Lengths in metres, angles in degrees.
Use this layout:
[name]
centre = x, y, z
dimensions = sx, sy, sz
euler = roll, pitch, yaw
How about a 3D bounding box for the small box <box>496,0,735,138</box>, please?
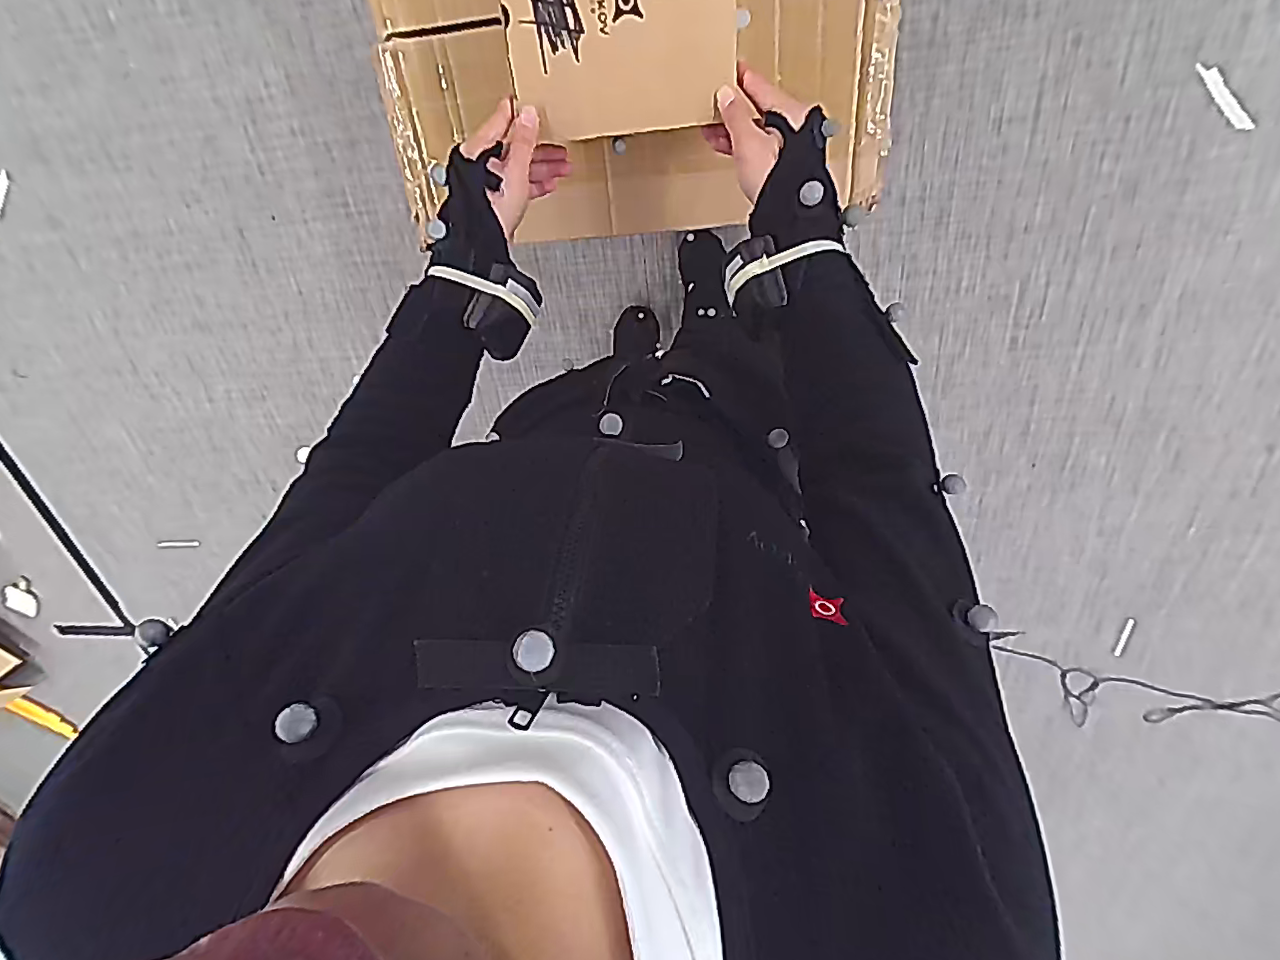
[small box]
centre = -0.012, -0.391, 0.453
dimensions = 0.179, 0.176, 0.168
euler = -2, 123, 7
